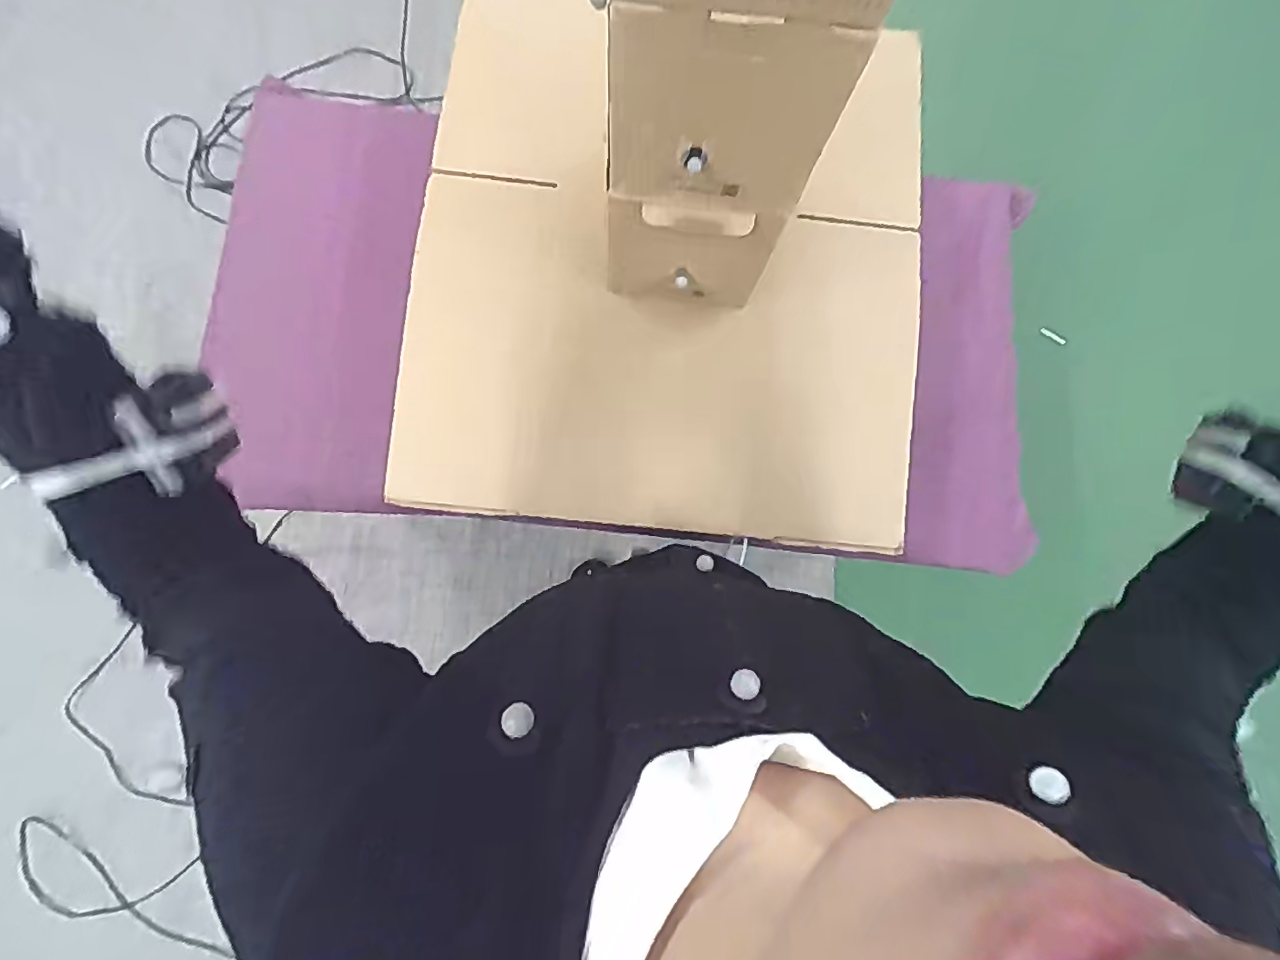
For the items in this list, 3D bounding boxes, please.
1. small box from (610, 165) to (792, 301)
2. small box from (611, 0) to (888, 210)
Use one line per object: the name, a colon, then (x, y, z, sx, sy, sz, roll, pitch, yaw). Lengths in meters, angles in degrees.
small box: (0.058, -0.317, 0.571, 0.168, 0.176, 0.179, 6, 80, -2)
small box: (0.067, -0.344, 0.411, 0.168, 0.176, 0.179, 4, 80, -3)
